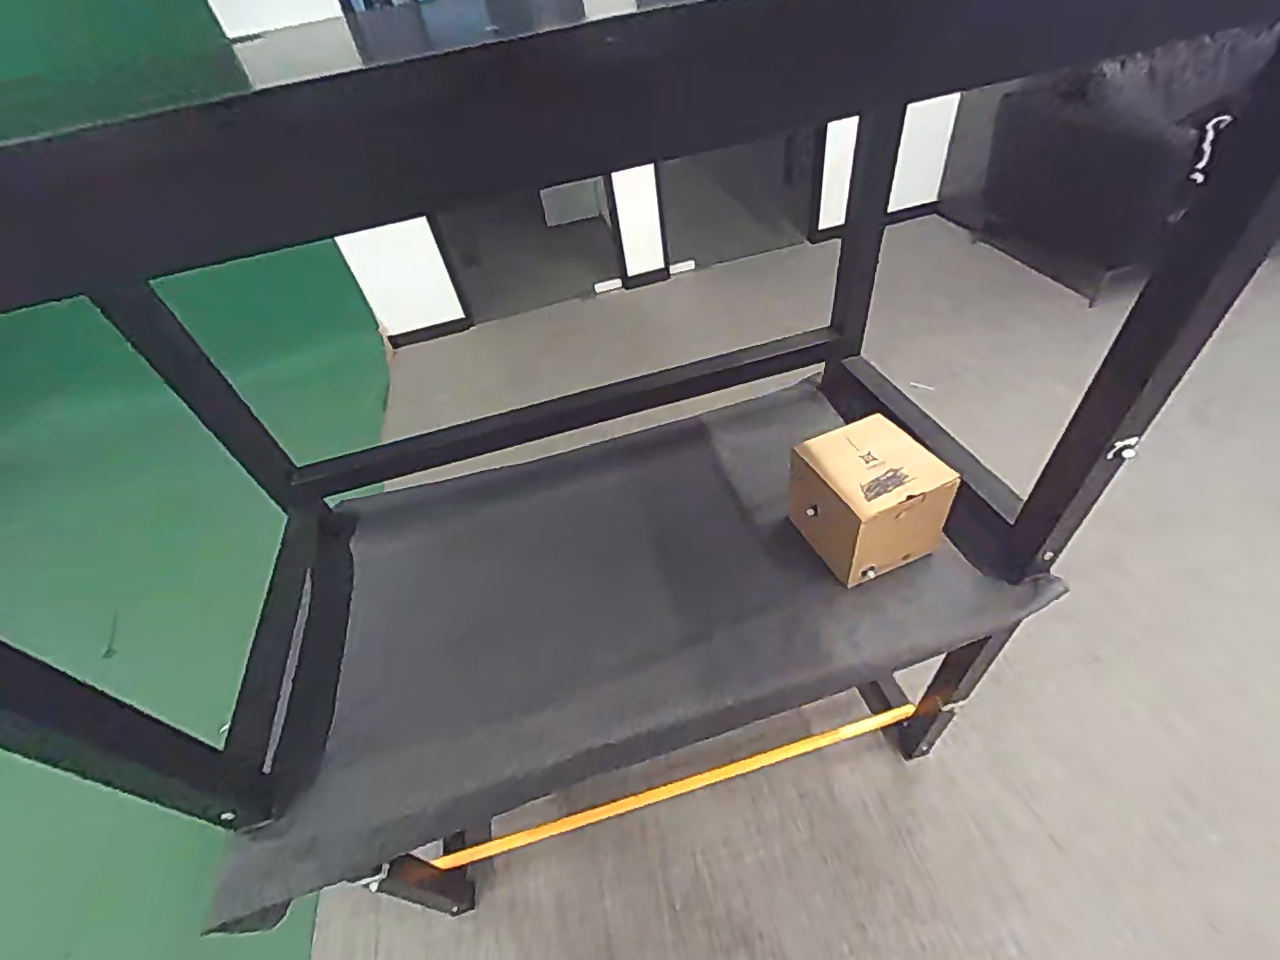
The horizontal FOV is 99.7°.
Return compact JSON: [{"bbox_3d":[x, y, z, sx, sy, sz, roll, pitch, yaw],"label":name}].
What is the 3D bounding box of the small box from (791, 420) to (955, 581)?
[{"bbox_3d":[0.359,0.039,0.868,0.168,0.176,0.179,-20,43,-9],"label":"small box"}]
